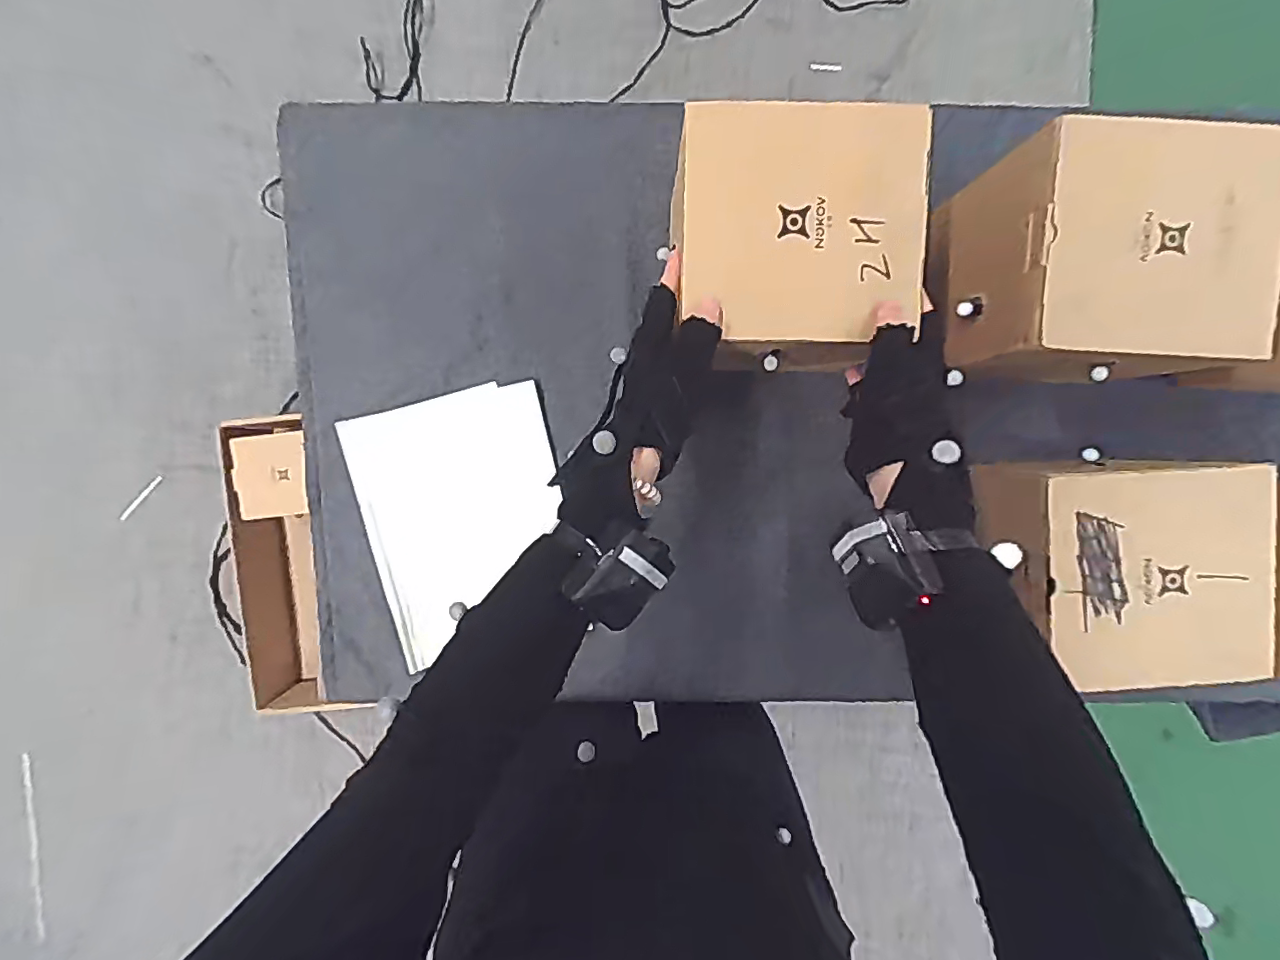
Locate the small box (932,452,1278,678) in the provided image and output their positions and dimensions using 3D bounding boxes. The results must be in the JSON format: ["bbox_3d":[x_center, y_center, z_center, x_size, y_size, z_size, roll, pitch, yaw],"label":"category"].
[{"bbox_3d":[0.386,0.061,0.481,0.179,0.176,0.168,-3,93,-1],"label":"small box"}]
